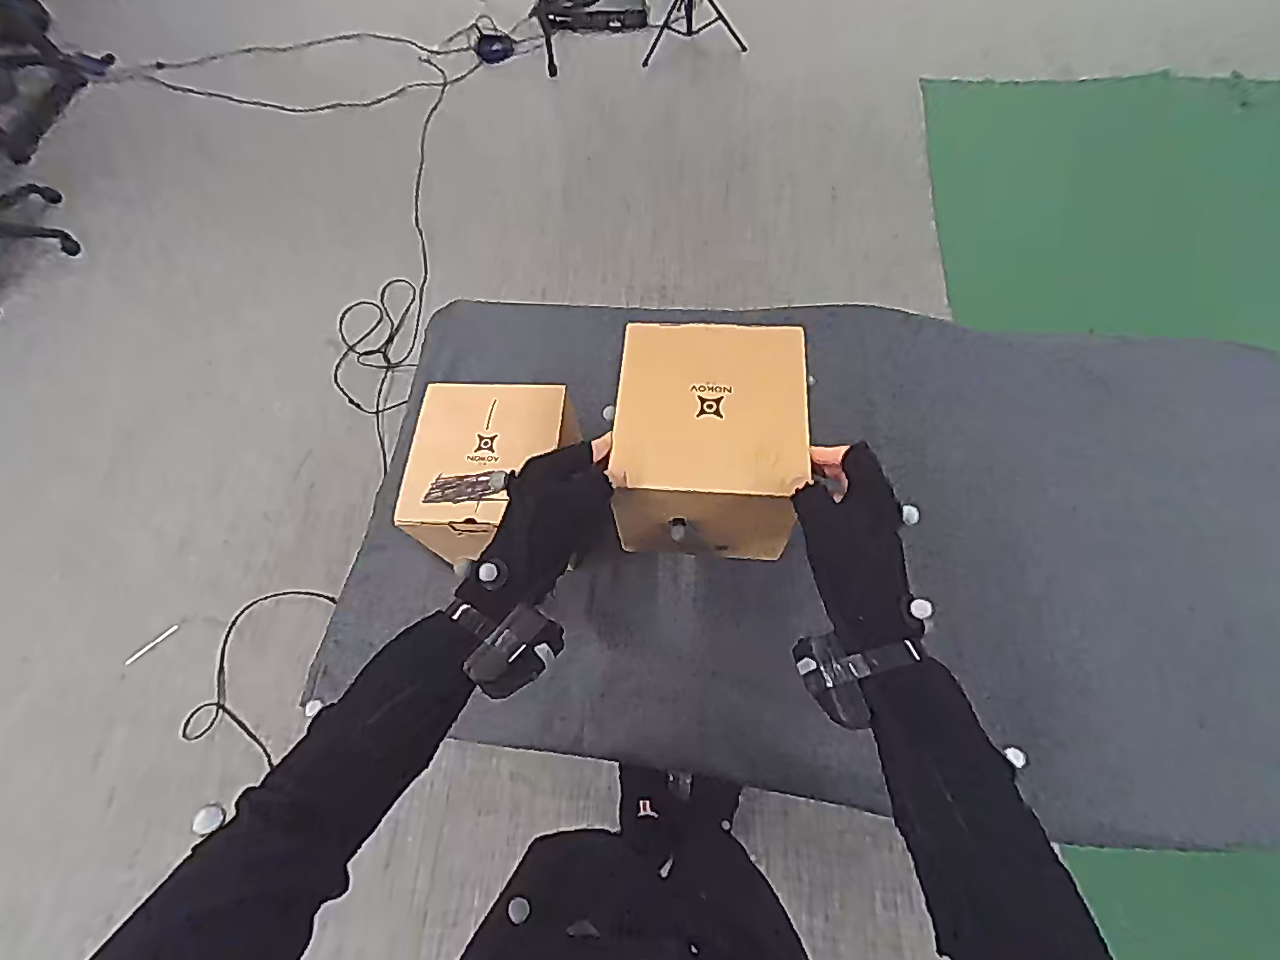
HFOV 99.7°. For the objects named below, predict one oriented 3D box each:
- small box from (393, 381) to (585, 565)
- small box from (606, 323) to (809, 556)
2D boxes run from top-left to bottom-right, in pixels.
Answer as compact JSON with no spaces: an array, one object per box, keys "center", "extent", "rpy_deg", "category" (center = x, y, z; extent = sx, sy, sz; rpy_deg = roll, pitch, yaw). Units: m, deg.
[{"center":[-0.165,-0.001,0.657],"extent":[0.168,0.176,0.179],"rpy_deg":[2,65,4],"category":"small box"},{"center":[0.066,-0.032,0.536],"extent":[0.168,0.176,0.179],"rpy_deg":[2,63,6],"category":"small box"}]
